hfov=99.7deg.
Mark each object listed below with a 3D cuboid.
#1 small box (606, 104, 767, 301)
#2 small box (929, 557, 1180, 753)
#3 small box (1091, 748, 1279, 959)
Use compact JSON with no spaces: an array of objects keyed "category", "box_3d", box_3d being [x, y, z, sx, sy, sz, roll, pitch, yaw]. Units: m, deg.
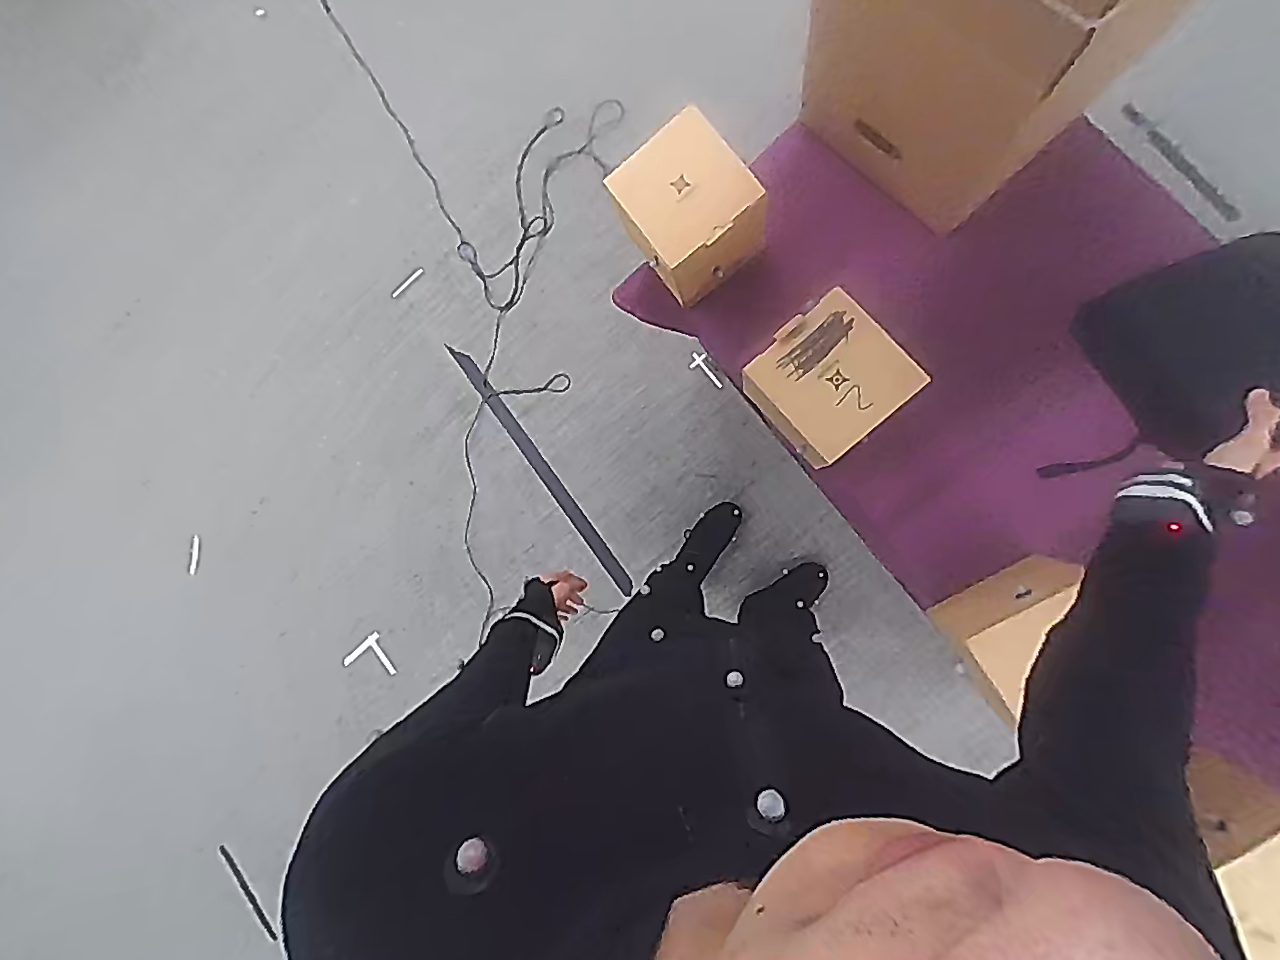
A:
[{"category":"small box","box_3d":[0.076,-0.411,0.835,0.168,0.176,0.179,-37,83,9]},{"category":"small box","box_3d":[0.530,0.219,0.726,0.179,0.176,0.168,-32,83,12]},{"category":"small box","box_3d":[0.735,0.477,0.674,0.179,0.176,0.168,-39,80,9]}]
